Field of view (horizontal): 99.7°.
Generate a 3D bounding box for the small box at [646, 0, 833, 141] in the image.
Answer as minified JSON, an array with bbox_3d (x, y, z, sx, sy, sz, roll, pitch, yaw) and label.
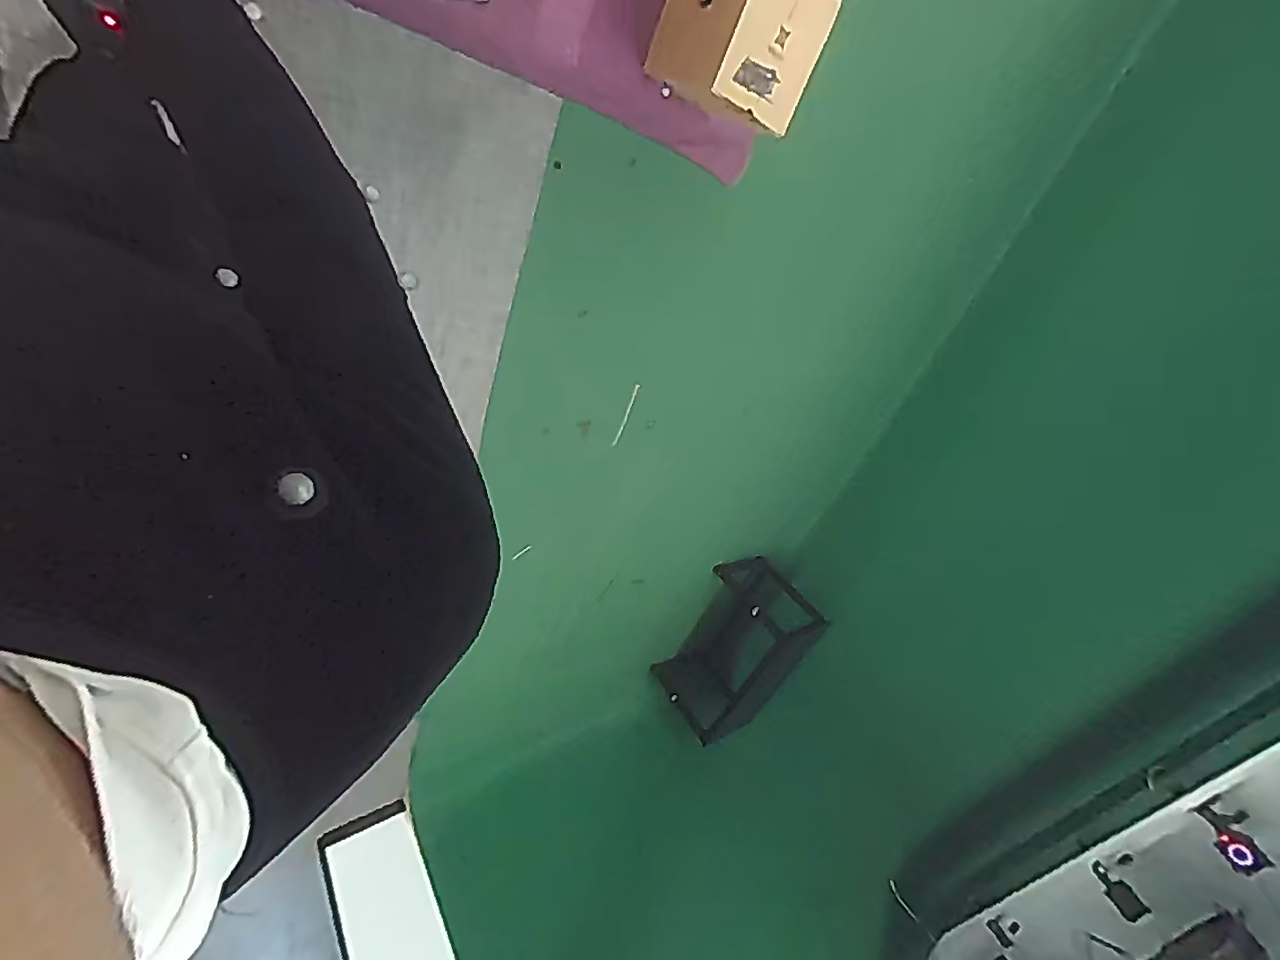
[{"bbox_3d":[0.133,-0.634,0.783,0.168,0.176,0.179,-2,127,-43],"label":"small box"}]
